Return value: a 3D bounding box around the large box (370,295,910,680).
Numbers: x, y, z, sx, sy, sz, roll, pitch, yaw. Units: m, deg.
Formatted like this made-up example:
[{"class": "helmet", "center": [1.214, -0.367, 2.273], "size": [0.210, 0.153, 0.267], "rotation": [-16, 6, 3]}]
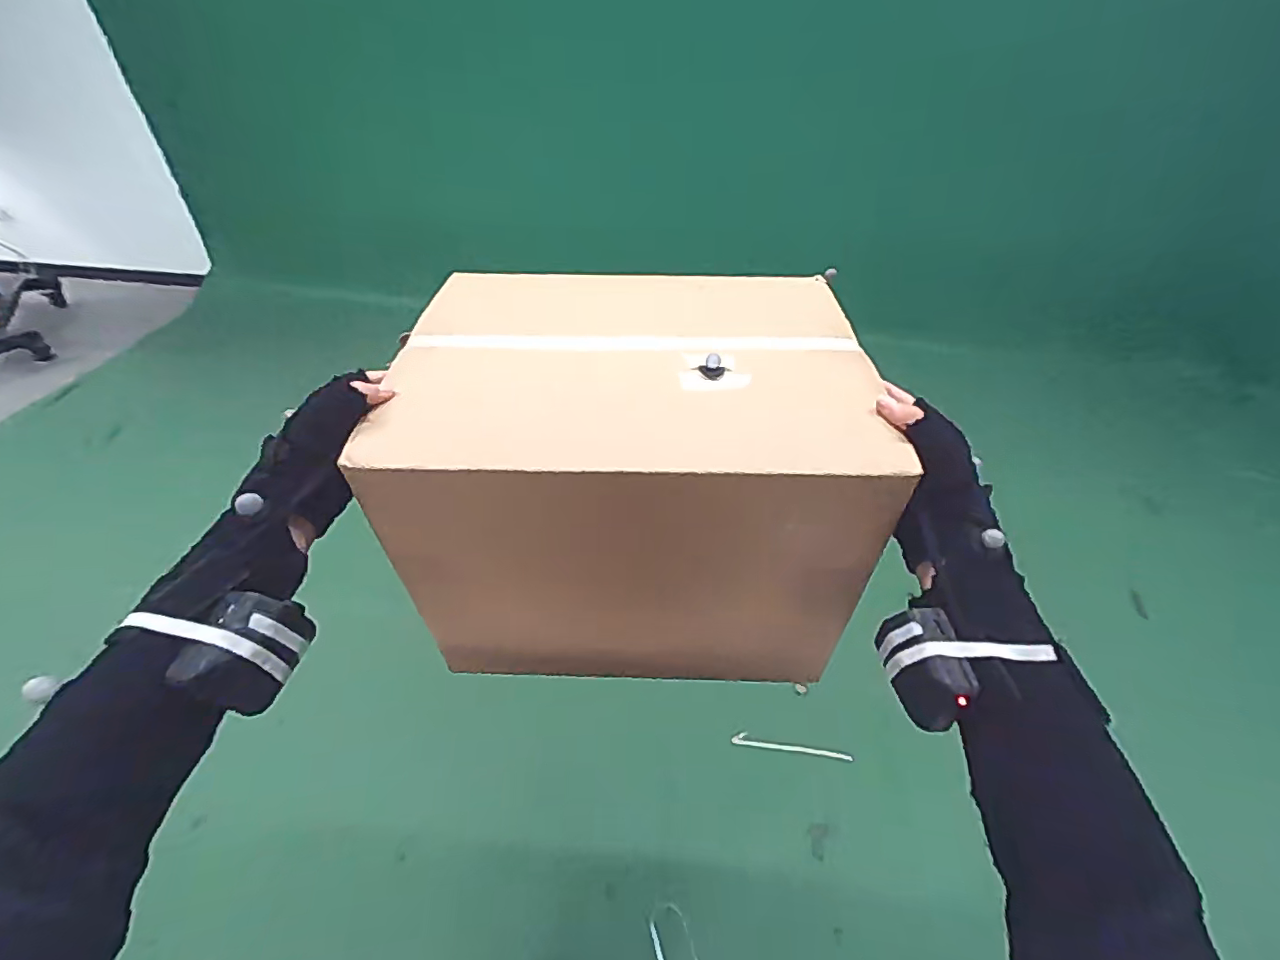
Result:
[{"class": "large box", "center": [-0.002, 0.008, 0.599], "size": [0.408, 0.320, 0.320], "rotation": [1, 44, 0]}]
